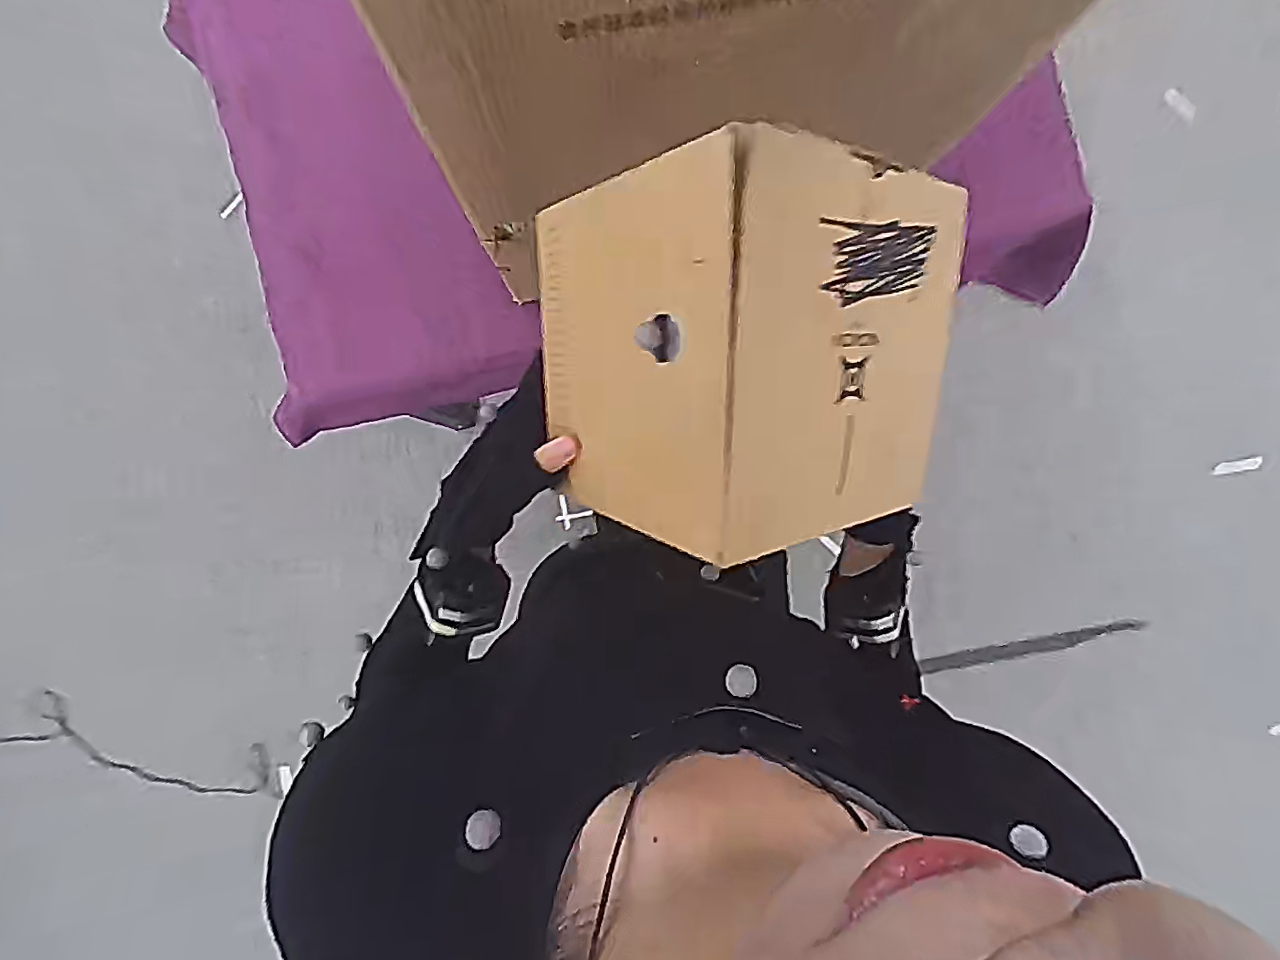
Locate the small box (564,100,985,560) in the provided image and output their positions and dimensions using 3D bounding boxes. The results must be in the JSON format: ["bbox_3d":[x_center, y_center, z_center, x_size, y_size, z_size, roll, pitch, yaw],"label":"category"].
[{"bbox_3d":[0.065,-0.074,0.316,0.168,0.176,0.179,-9,106,-34],"label":"small box"}]
